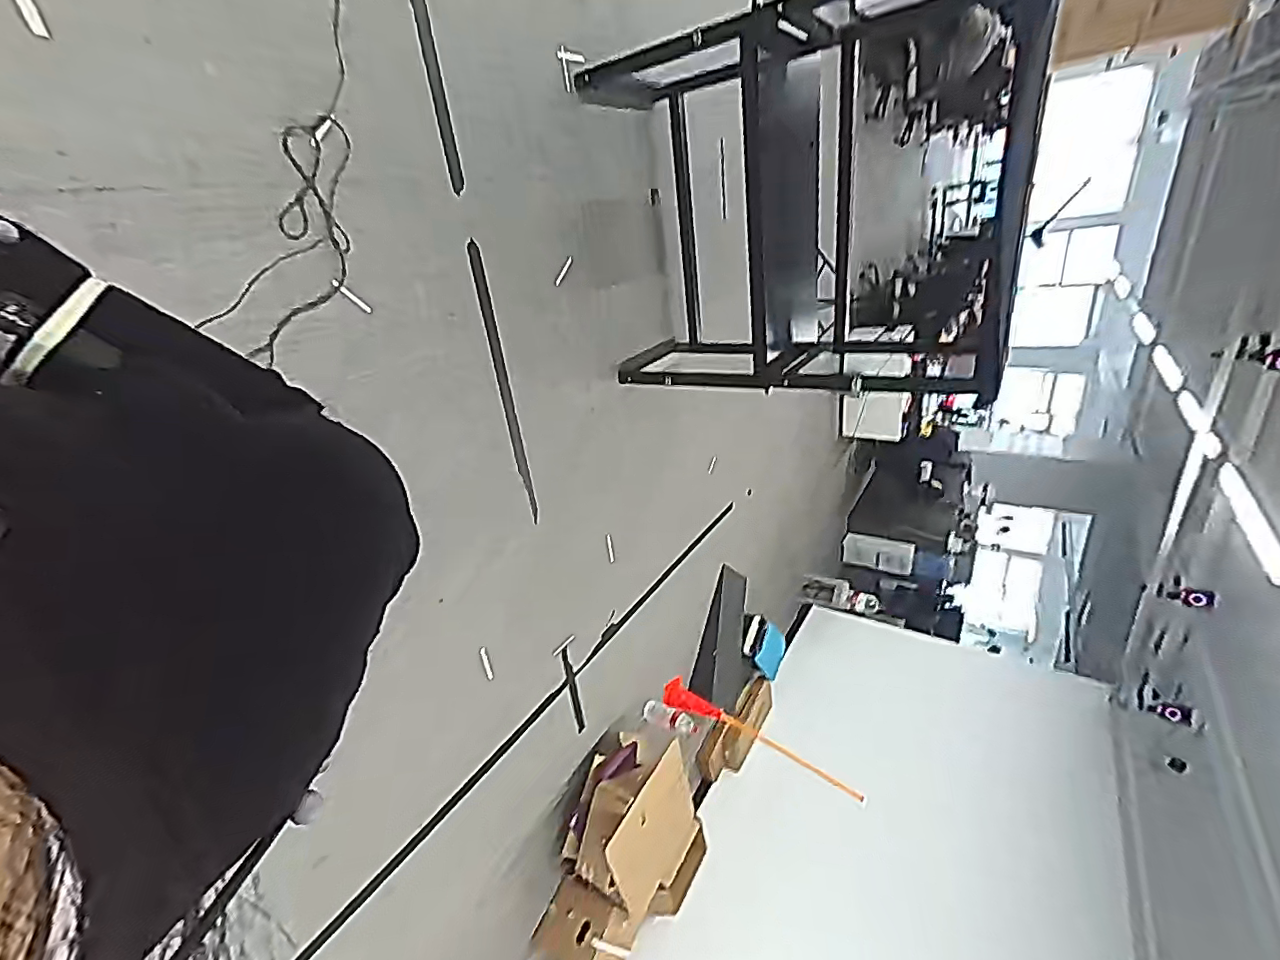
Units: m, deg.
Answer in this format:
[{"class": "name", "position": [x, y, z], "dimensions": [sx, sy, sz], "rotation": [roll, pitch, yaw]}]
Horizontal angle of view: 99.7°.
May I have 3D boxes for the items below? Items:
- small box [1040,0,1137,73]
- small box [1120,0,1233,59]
[{"class": "small box", "position": [1.098, -1.125, 1.326], "dimensions": [0.179, 0.176, 0.168], "rotation": [-40, 131, -48]}, {"class": "small box", "position": [1.236, -1.100, 1.244], "dimensions": [0.179, 0.176, 0.168], "rotation": [-37, 127, -49]}]
